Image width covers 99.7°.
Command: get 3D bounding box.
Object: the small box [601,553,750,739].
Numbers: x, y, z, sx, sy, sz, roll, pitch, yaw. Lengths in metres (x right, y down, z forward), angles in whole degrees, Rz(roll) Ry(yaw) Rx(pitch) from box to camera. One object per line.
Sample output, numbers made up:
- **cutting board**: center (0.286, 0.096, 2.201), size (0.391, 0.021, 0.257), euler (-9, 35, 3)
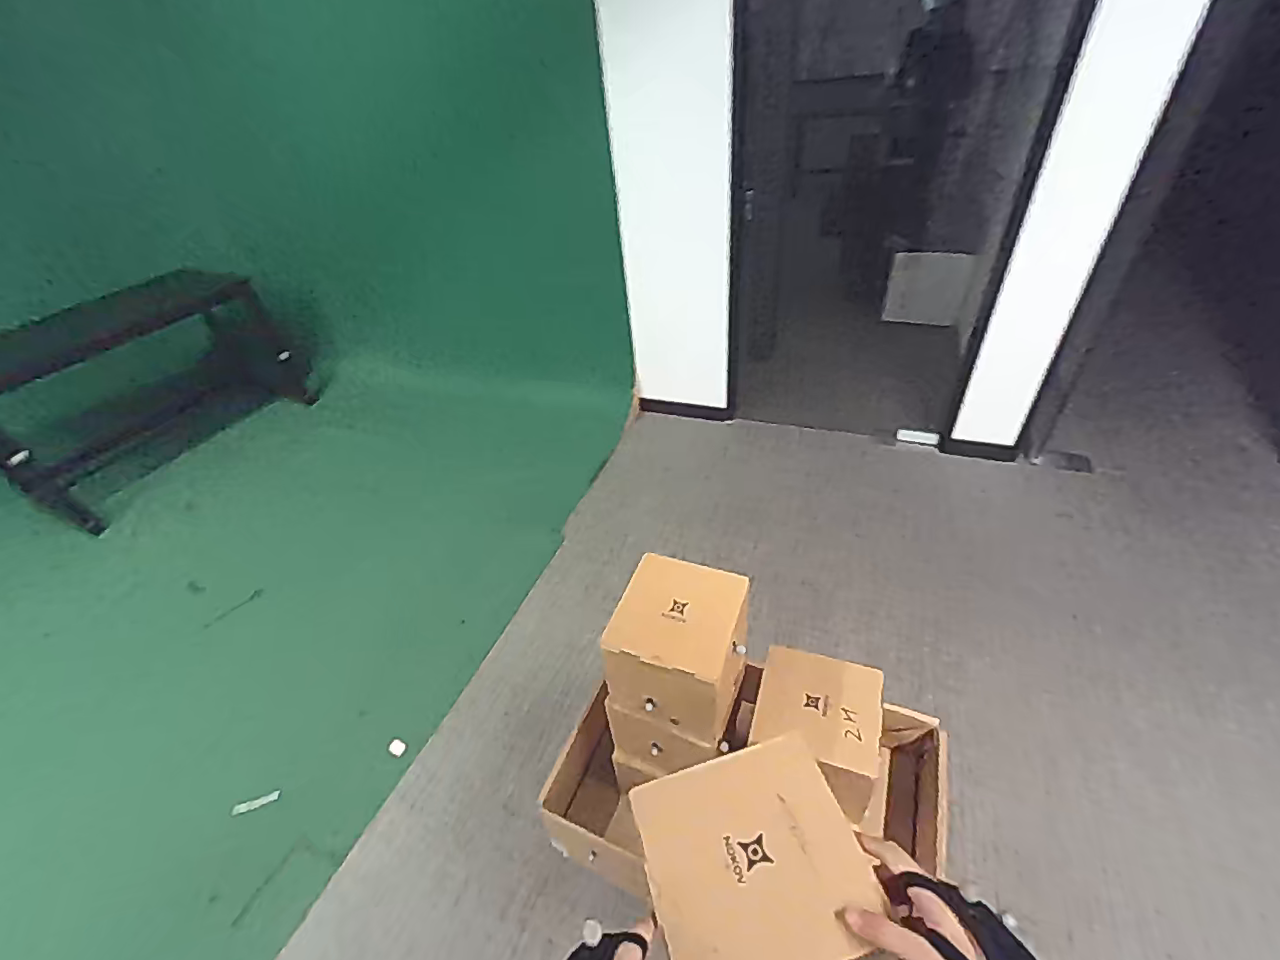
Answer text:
- **small box**: center (0.058, 0.242, 0.799), size (0.168, 0.176, 0.179), euler (11, 43, 20)
